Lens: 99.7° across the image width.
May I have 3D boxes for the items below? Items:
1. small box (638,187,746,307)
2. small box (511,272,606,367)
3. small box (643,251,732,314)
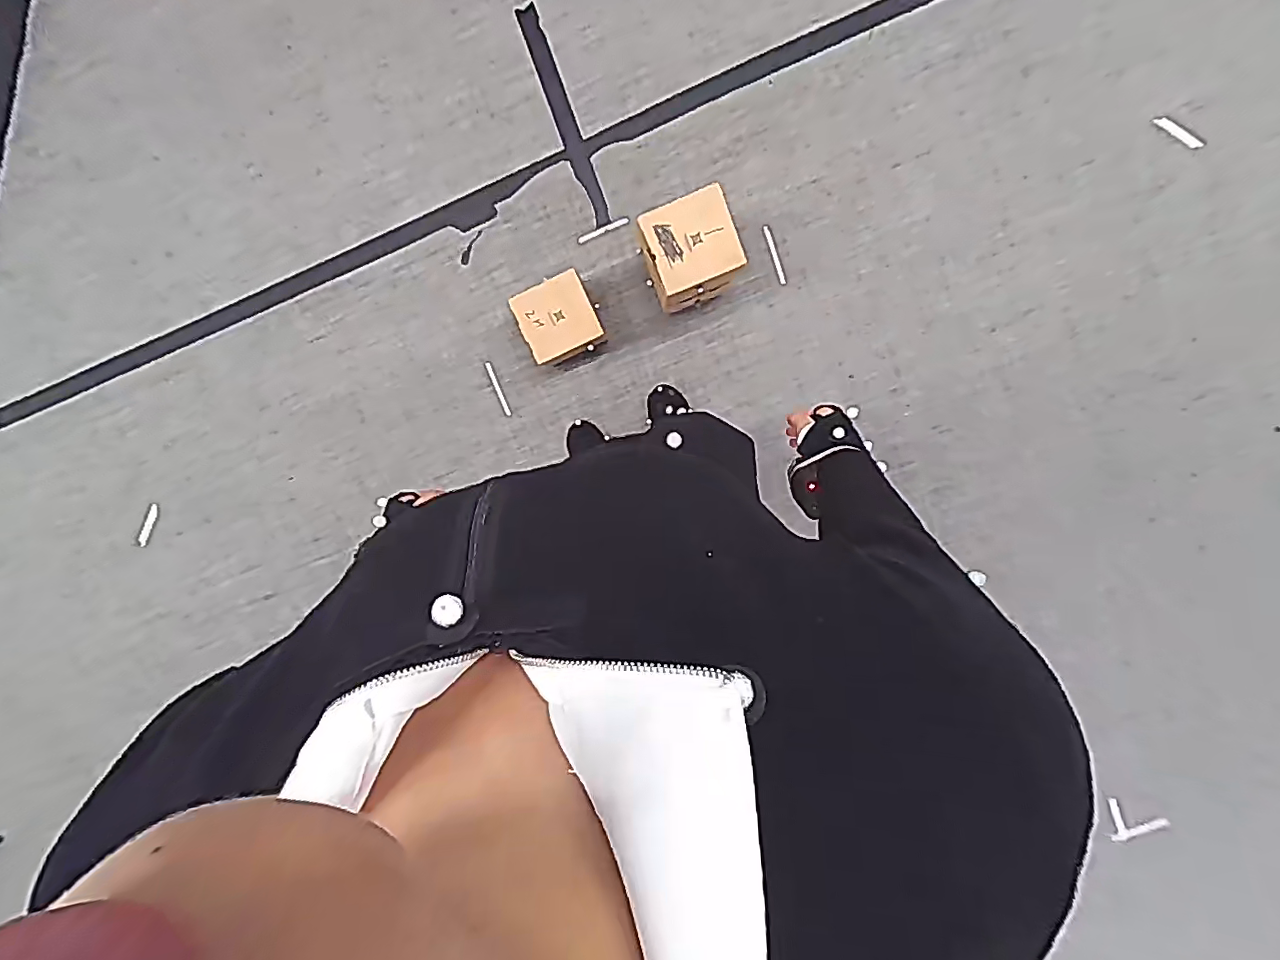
[{"bbox_3d":[0.106,-0.485,1.155,0.179,0.176,0.168,-21,100,3],"label":"small box"},{"bbox_3d":[-0.191,-0.390,1.340,0.179,0.176,0.168,-24,99,5],"label":"small box"},{"bbox_3d":[0.111,-0.516,1.318,0.168,0.176,0.179,-20,101,4],"label":"small box"}]
